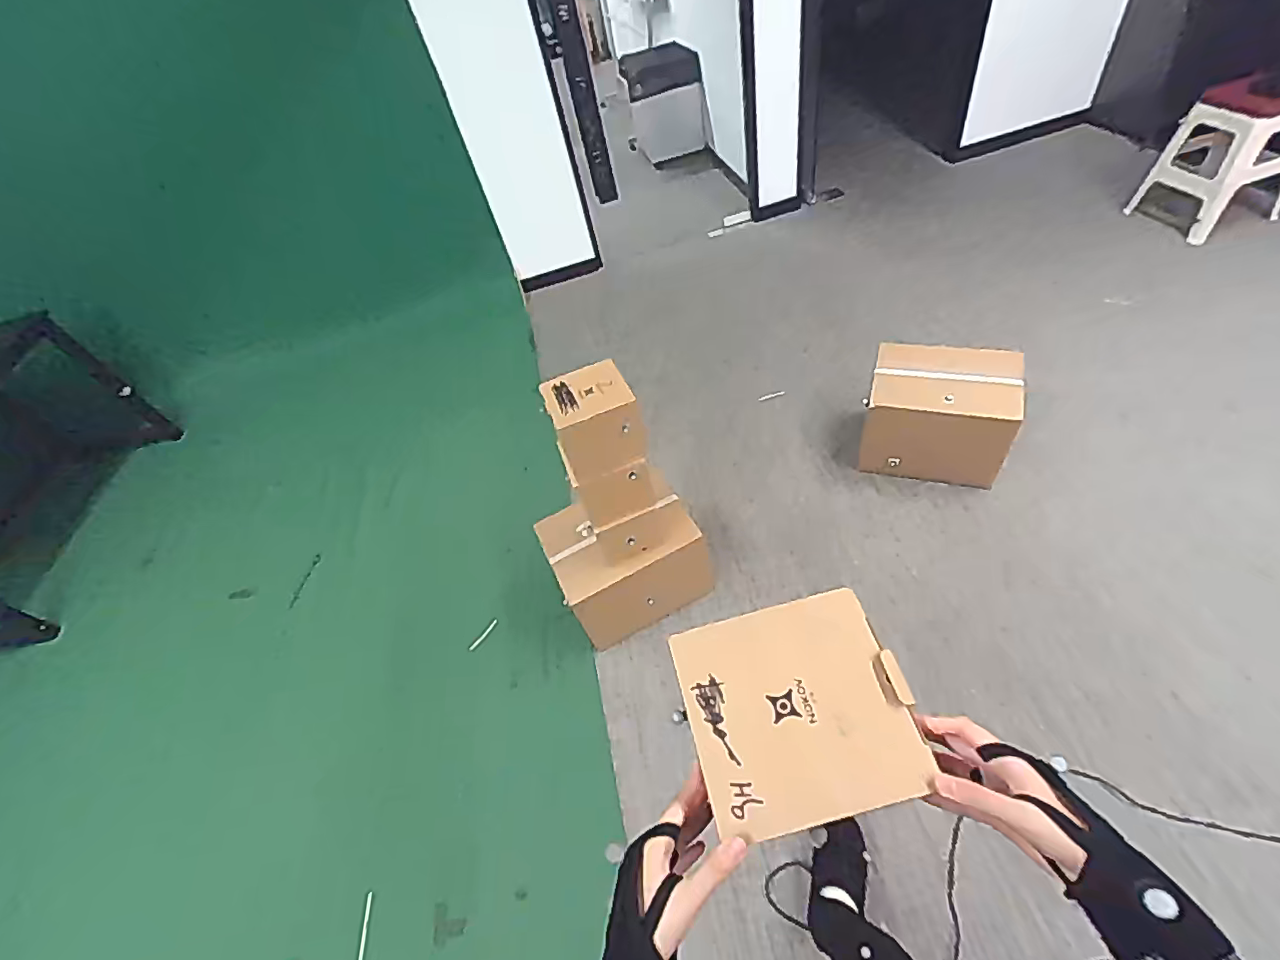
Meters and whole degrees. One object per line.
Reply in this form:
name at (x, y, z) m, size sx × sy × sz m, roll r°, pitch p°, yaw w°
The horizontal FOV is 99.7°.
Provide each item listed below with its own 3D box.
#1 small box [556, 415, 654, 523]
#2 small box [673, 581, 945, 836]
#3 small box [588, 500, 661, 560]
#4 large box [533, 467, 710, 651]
small box at (-0.082, -0.021, 1.310) m, size 0.179 × 0.176 × 0.168 m, roll -21°, pitch 49°, yaw -6°
small box at (0.135, 0.217, 0.505) m, size 0.179 × 0.176 × 0.168 m, roll -13°, pitch 56°, yaw -2°
small box at (-0.054, 0.088, 1.425) m, size 0.168 × 0.176 × 0.179 m, roll -22°, pitch 49°, yaw -6°
large box at (-0.046, 0.238, 1.625) m, size 0.408 × 0.320 × 0.320 m, roll -27°, pitch 48°, yaw -9°
